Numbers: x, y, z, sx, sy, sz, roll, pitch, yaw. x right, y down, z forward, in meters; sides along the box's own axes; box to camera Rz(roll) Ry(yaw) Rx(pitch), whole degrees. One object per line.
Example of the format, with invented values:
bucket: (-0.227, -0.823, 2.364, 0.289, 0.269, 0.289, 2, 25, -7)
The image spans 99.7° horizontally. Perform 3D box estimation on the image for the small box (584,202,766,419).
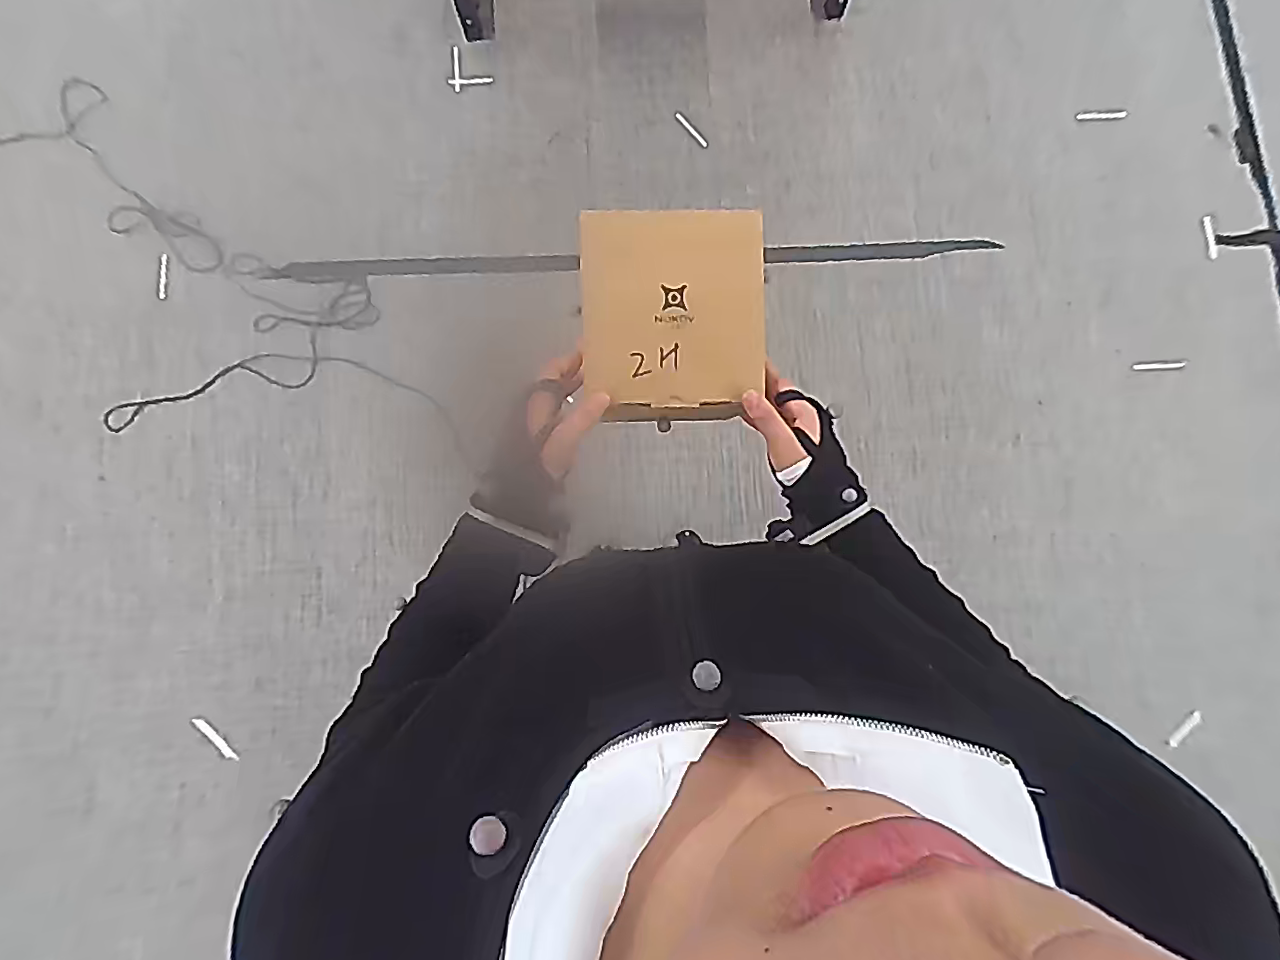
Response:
small box: (0.028, -0.161, 0.563, 0.168, 0.176, 0.179, -1, 90, -2)
